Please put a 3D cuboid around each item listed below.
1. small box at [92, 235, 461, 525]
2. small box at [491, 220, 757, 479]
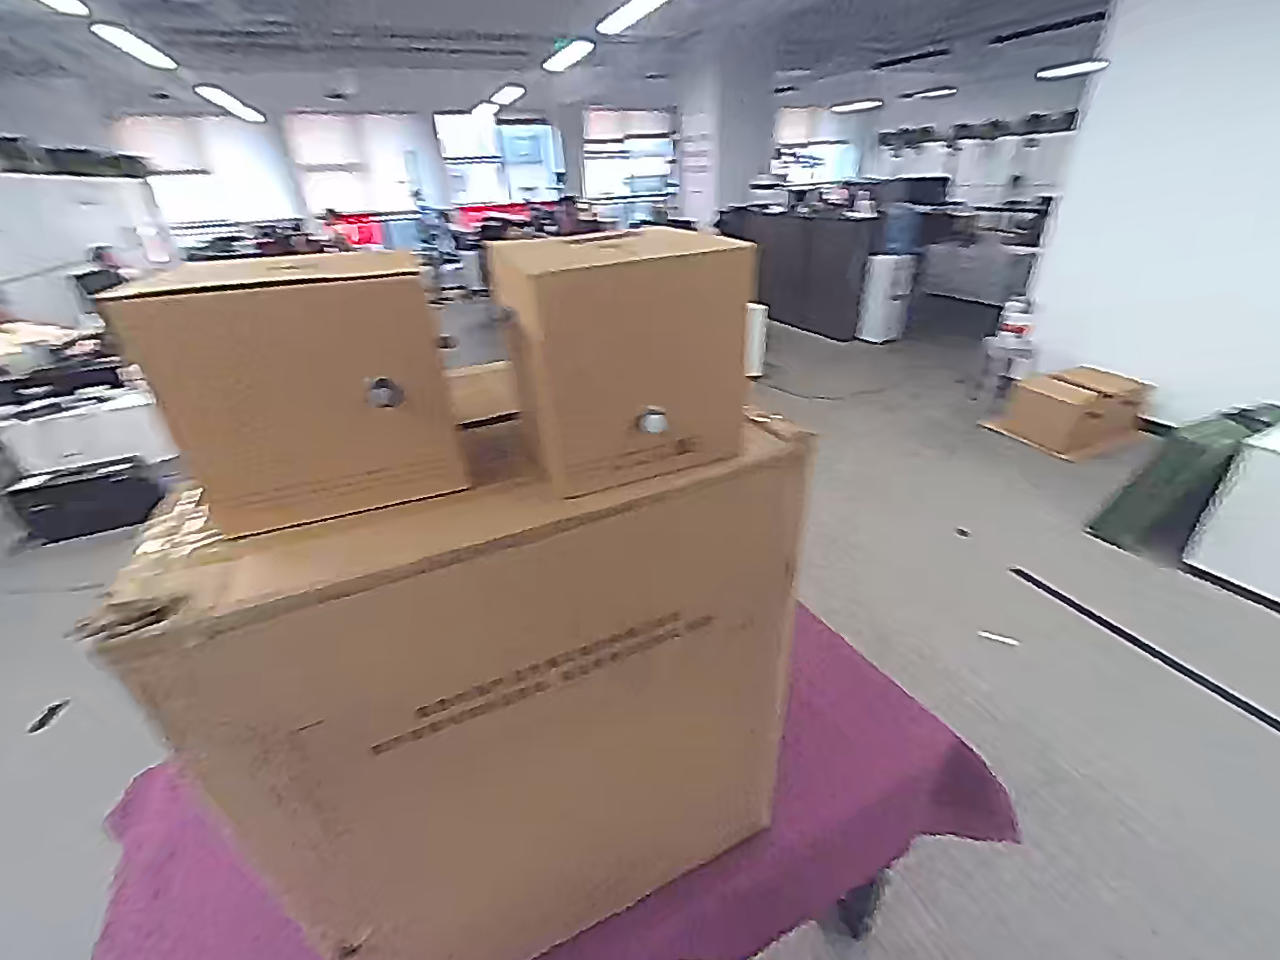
[{"bbox_3d":[-0.245,-0.089,0.422,0.179,0.176,0.168,-14,30,-19],"label":"small box"},{"bbox_3d":[-0.020,-0.121,0.461,0.168,0.176,0.179,-14,32,-18],"label":"small box"}]
